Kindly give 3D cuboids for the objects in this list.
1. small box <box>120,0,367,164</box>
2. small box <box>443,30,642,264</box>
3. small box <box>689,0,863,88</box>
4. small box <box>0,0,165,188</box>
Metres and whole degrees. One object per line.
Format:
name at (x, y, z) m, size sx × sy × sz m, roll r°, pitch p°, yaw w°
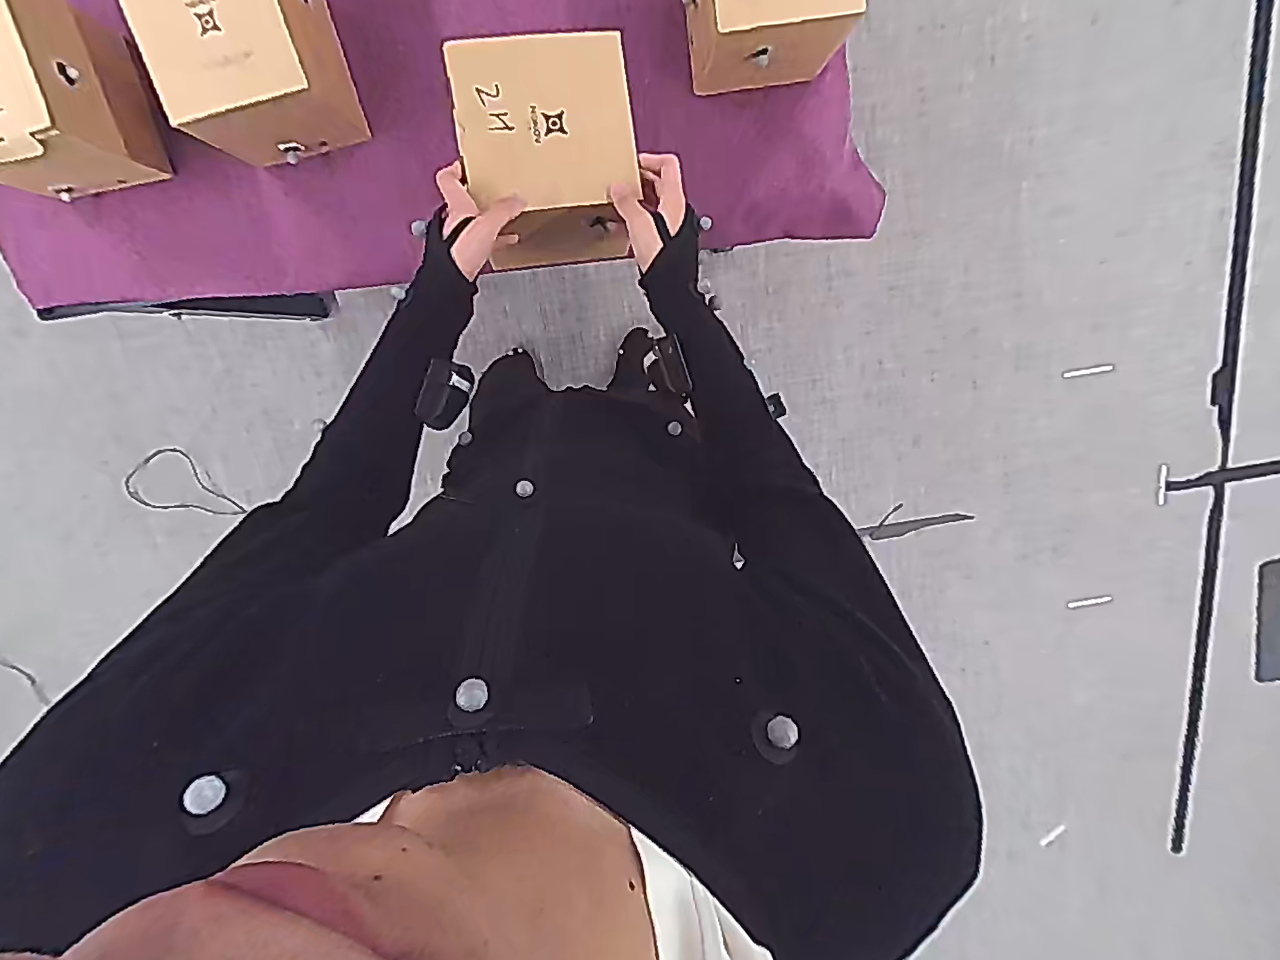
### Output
small box at (-0.472, -0.523, 0.660) m, size 0.168 × 0.176 × 0.179 m, roll -14°, pitch 105°, yaw 2°
small box at (-0.104, -0.359, 0.610) m, size 0.179 × 0.176 × 0.168 m, roll -9°, pitch 95°, yaw -6°
small box at (0.154, -0.618, 0.666) m, size 0.179 × 0.176 × 0.168 m, roll -8°, pitch 105°, yaw 1°
small box at (-0.742, -0.475, 0.655) m, size 0.168 × 0.176 × 0.179 m, roll -12°, pitch 104°, yaw 0°
